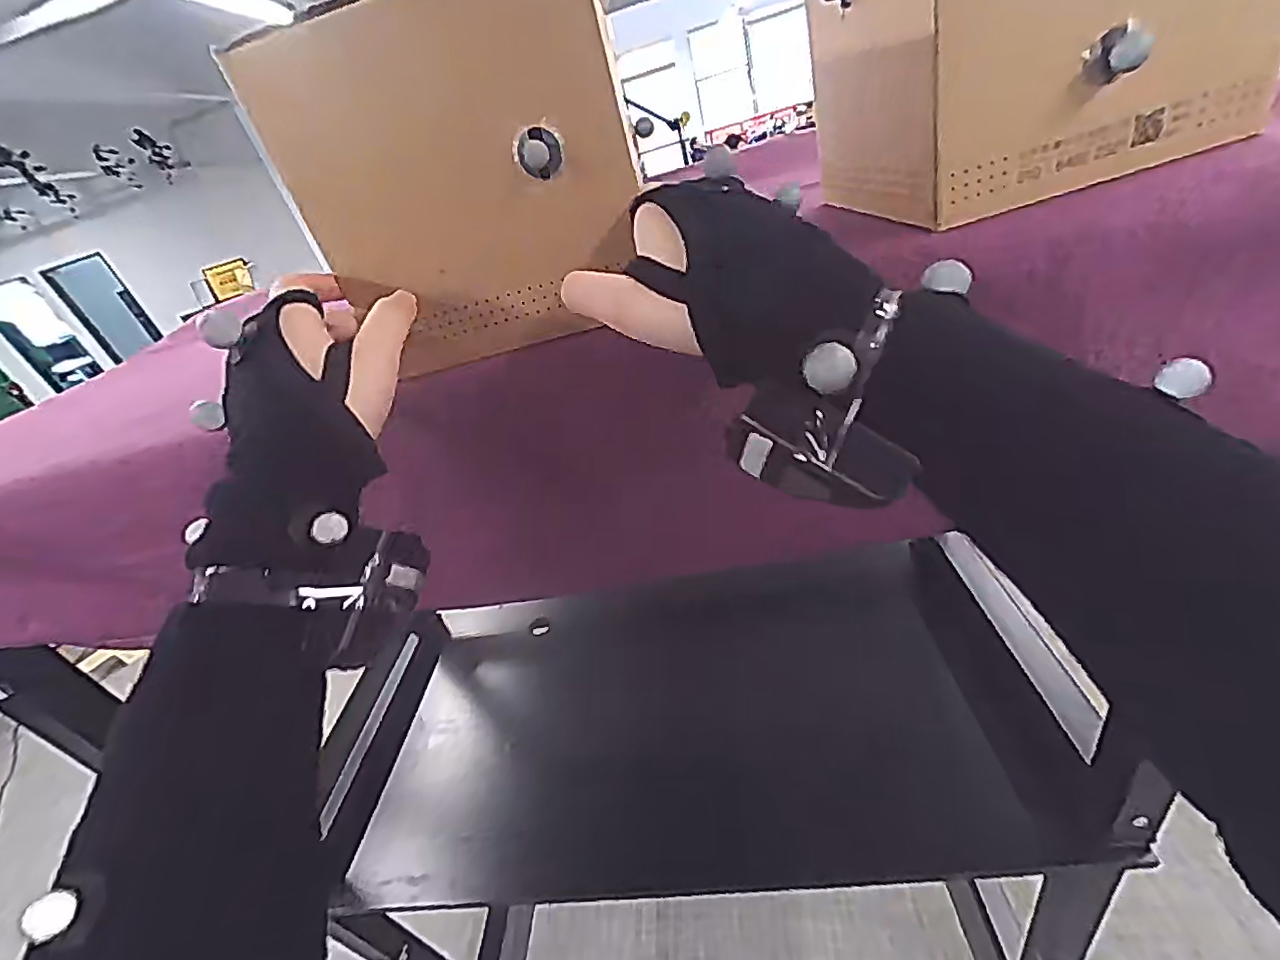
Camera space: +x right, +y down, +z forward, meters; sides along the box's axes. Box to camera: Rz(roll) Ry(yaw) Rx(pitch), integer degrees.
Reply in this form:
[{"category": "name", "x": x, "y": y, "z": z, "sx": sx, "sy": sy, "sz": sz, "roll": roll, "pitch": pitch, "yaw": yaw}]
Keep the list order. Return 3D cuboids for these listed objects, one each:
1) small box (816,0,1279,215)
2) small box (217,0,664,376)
[{"category": "small box", "x": 0.208, "y": -0.266, "z": 0.309, "sx": 0.168, "sy": 0.176, "sz": 0.179, "roll": -16, "pitch": 31, "yaw": 5}, {"category": "small box", "x": -0.085, "y": -0.185, "z": 0.336, "sx": 0.179, "sy": 0.176, "sz": 0.168, "roll": -13, "pitch": 30, "yaw": 8}]
